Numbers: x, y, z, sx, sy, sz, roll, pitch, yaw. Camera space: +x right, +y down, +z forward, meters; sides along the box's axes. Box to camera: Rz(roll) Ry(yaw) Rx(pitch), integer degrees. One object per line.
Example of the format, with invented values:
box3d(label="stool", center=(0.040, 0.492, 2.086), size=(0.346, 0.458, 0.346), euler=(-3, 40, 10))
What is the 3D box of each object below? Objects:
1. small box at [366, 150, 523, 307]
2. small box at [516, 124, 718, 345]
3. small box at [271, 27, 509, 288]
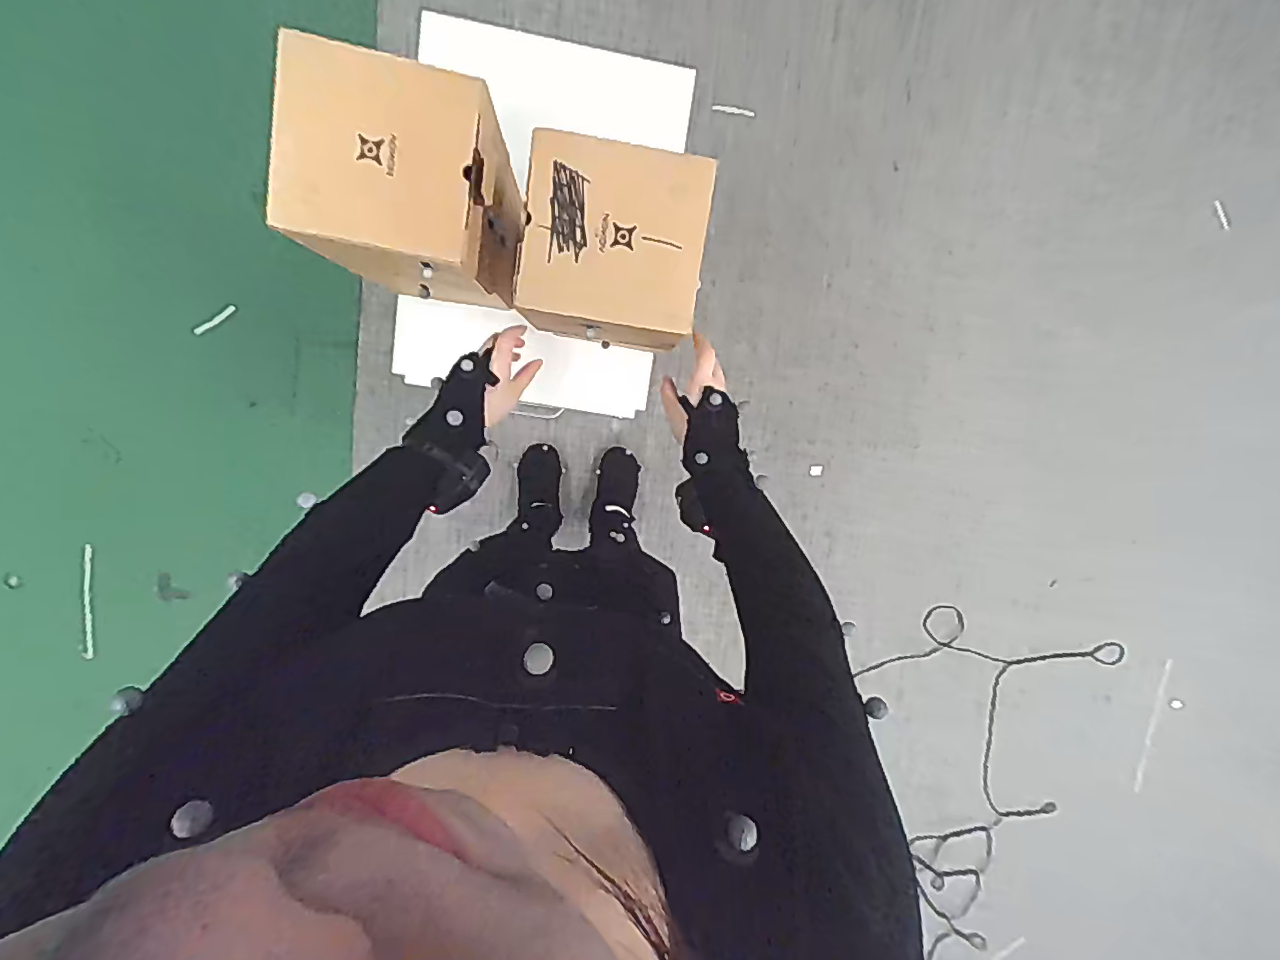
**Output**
box3d(label="small box", center=(-0.262, -0.340, 0.730), size=(0.179, 0.176, 0.168), euler=(7, 98, -8))
box3d(label="small box", center=(-0.028, -0.250, 0.597), size=(0.179, 0.176, 0.168), euler=(8, 97, -6))
box3d(label="small box", center=(-0.245, -0.313, 0.568), size=(0.179, 0.176, 0.168), euler=(8, 97, -9))
